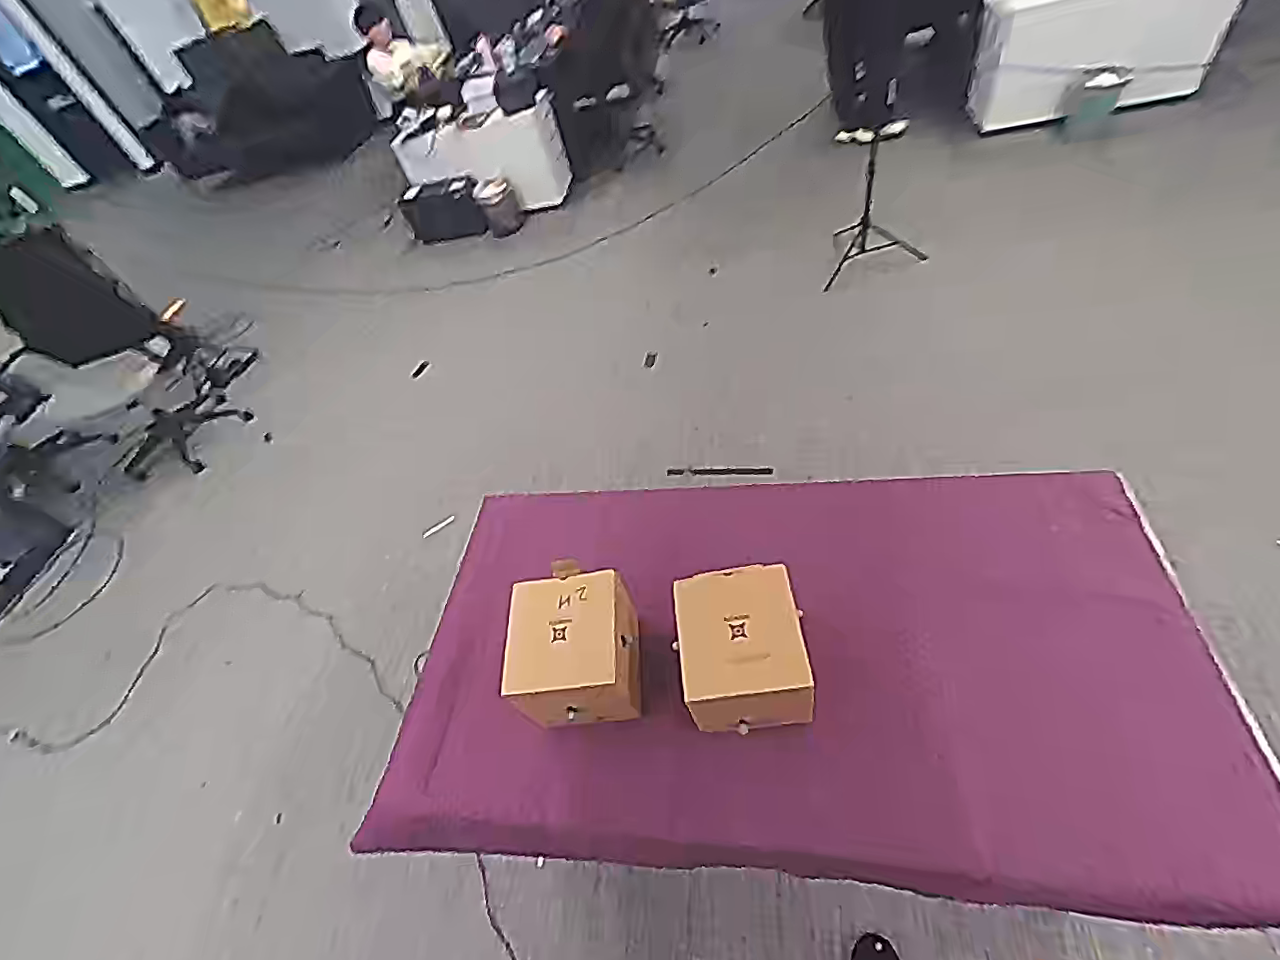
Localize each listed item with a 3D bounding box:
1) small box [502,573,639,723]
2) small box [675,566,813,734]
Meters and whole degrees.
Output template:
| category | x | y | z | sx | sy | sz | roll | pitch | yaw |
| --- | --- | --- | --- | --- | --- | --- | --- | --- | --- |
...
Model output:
| category | x | y | z | sx | sy | sz | roll | pitch | yaw |
| --- | --- | --- | --- | --- | --- | --- | --- | --- | --- |
| small box | -0.098 | 0.270 | 0.847 | 0.168 | 0.176 | 0.179 | -9 | 50 | 8 |
| small box | 0.149 | 0.252 | 0.794 | 0.168 | 0.176 | 0.179 | -10 | 50 | 8 |
